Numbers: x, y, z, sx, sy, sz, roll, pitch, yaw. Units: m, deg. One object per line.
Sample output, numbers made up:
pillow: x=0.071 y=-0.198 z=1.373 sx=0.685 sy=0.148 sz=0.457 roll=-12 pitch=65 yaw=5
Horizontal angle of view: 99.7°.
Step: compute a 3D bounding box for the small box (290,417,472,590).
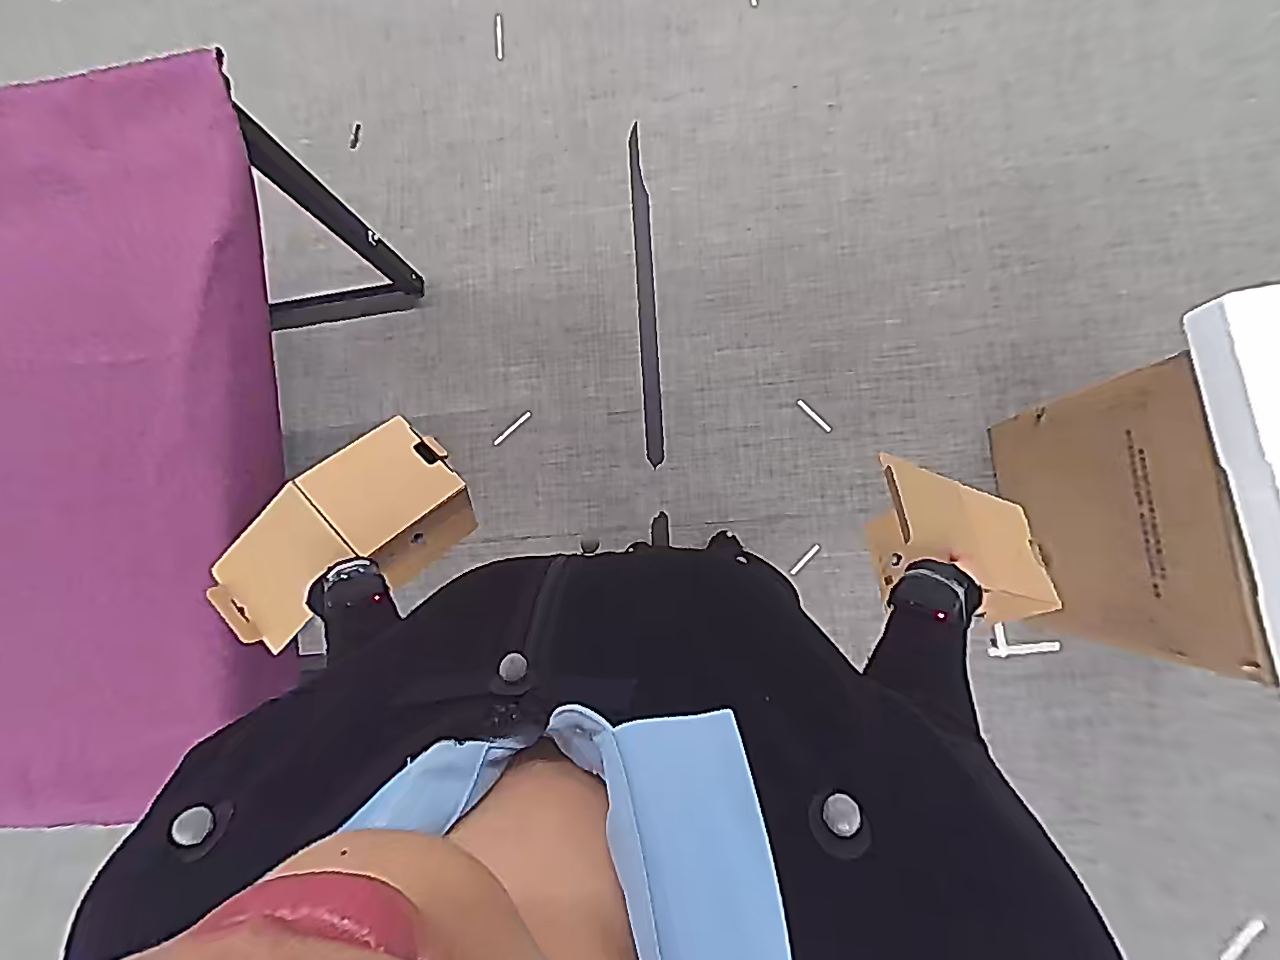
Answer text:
small box: x=-0.383 y=0.043 z=0.836 sx=0.168 sy=0.176 sz=0.179 roll=44 pitch=64 yaw=12
